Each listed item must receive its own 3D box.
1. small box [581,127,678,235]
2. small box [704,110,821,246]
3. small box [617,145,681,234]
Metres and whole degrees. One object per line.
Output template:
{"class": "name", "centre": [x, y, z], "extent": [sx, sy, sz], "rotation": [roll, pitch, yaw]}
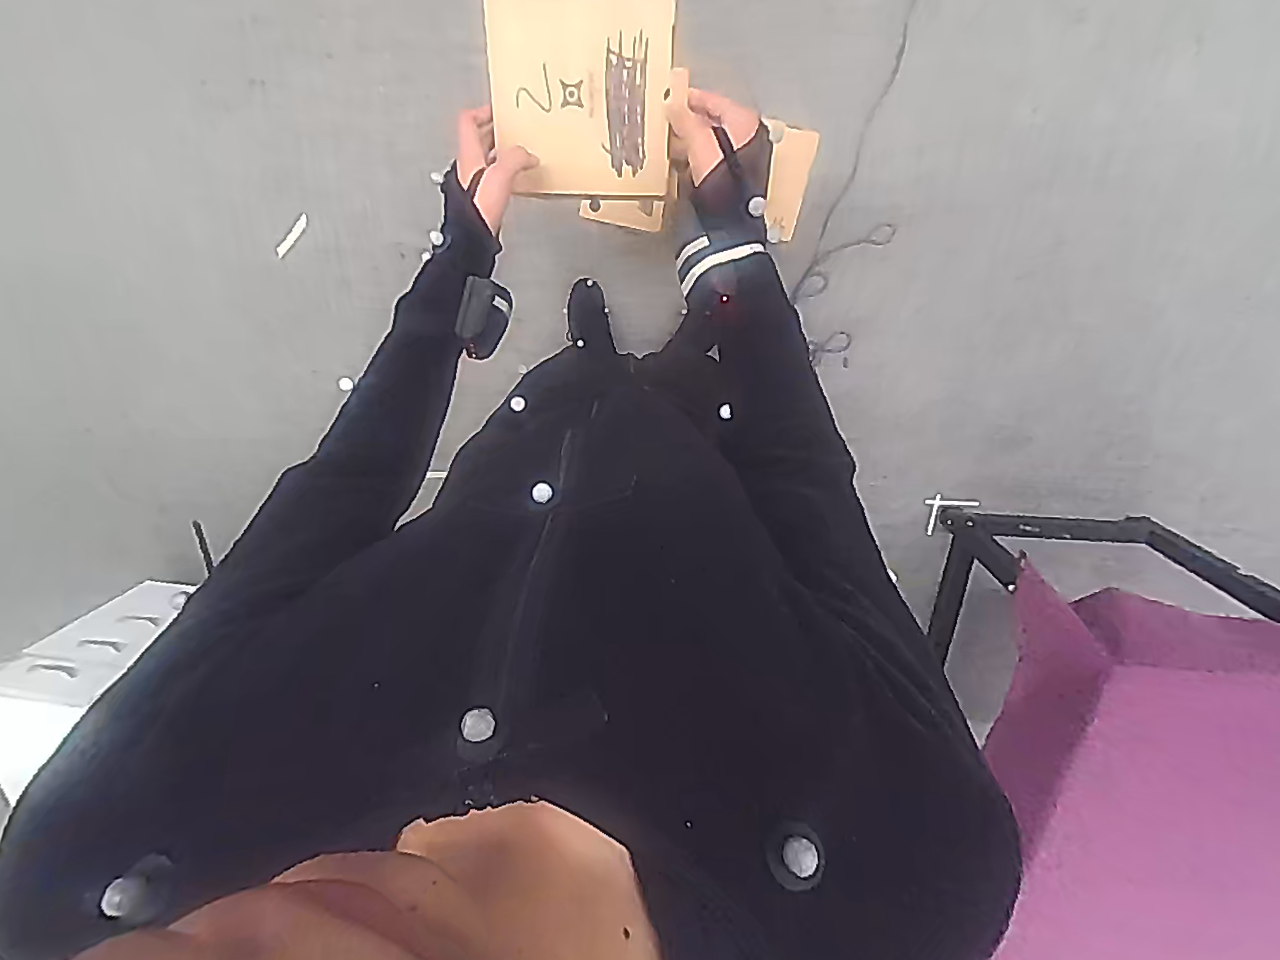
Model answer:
{"class": "small box", "centre": [-0.017, -0.638, 1.173], "extent": [0.179, 0.176, 0.168], "rotation": [13, 112, 1]}
{"class": "small box", "centre": [0.216, -0.551, 1.011], "extent": [0.168, 0.176, 0.179], "rotation": [13, 111, 1]}
{"class": "small box", "centre": [0.006, -0.710, 1.319], "extent": [0.168, 0.176, 0.179], "rotation": [9, 112, 3]}
